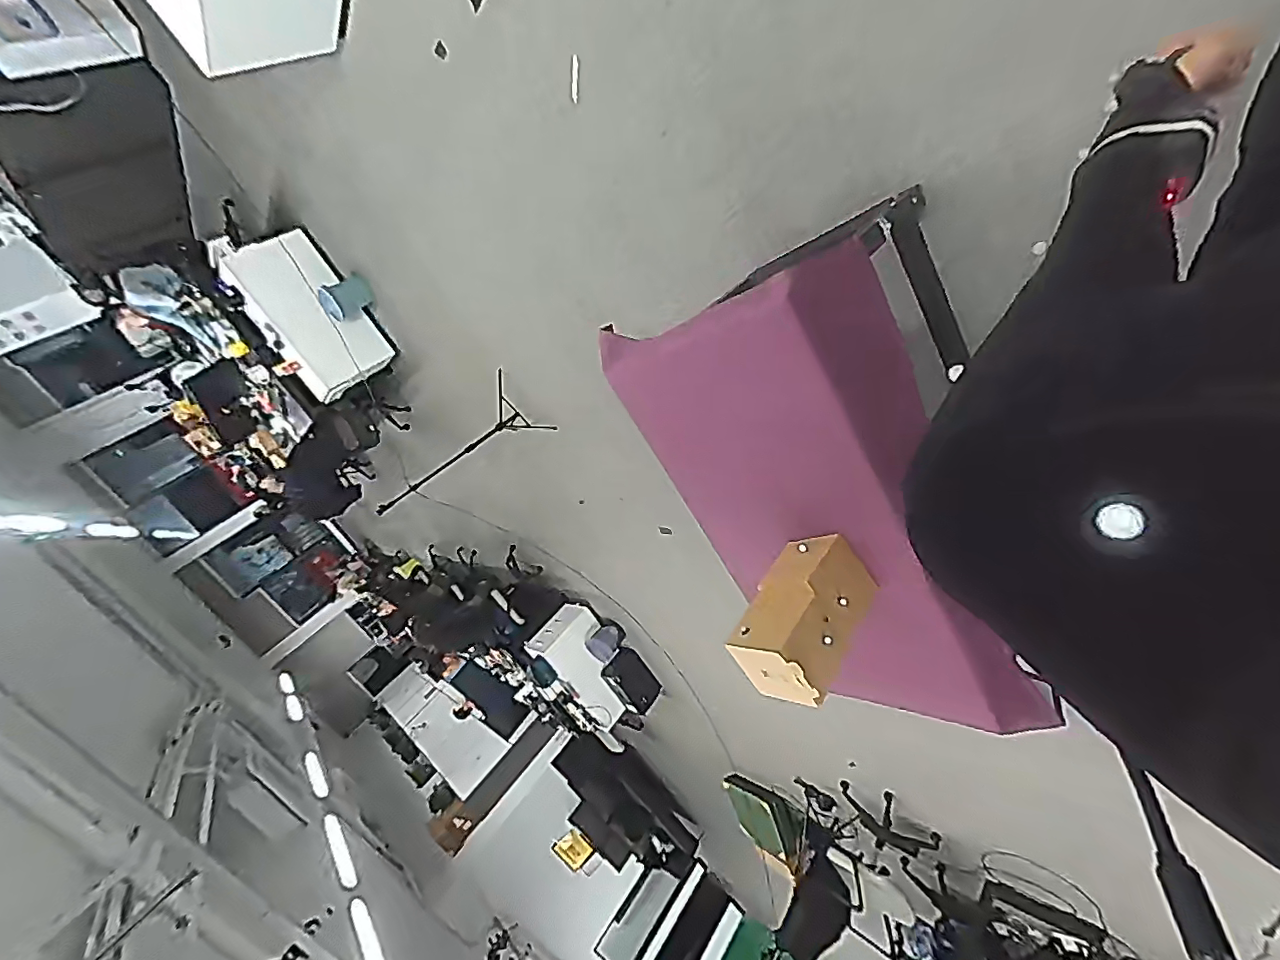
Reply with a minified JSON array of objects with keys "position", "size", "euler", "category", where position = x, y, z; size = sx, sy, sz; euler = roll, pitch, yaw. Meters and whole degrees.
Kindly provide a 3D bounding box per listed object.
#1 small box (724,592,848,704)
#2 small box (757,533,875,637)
[{"position":[0.331,0.368,1.217],"size":[0.168,0.176,0.179],"euler":[53,148,-14],"category":"small box"},{"position":[0.424,0.251,1.290],"size":[0.179,0.176,0.168],"euler":[51,148,-8],"category":"small box"}]
